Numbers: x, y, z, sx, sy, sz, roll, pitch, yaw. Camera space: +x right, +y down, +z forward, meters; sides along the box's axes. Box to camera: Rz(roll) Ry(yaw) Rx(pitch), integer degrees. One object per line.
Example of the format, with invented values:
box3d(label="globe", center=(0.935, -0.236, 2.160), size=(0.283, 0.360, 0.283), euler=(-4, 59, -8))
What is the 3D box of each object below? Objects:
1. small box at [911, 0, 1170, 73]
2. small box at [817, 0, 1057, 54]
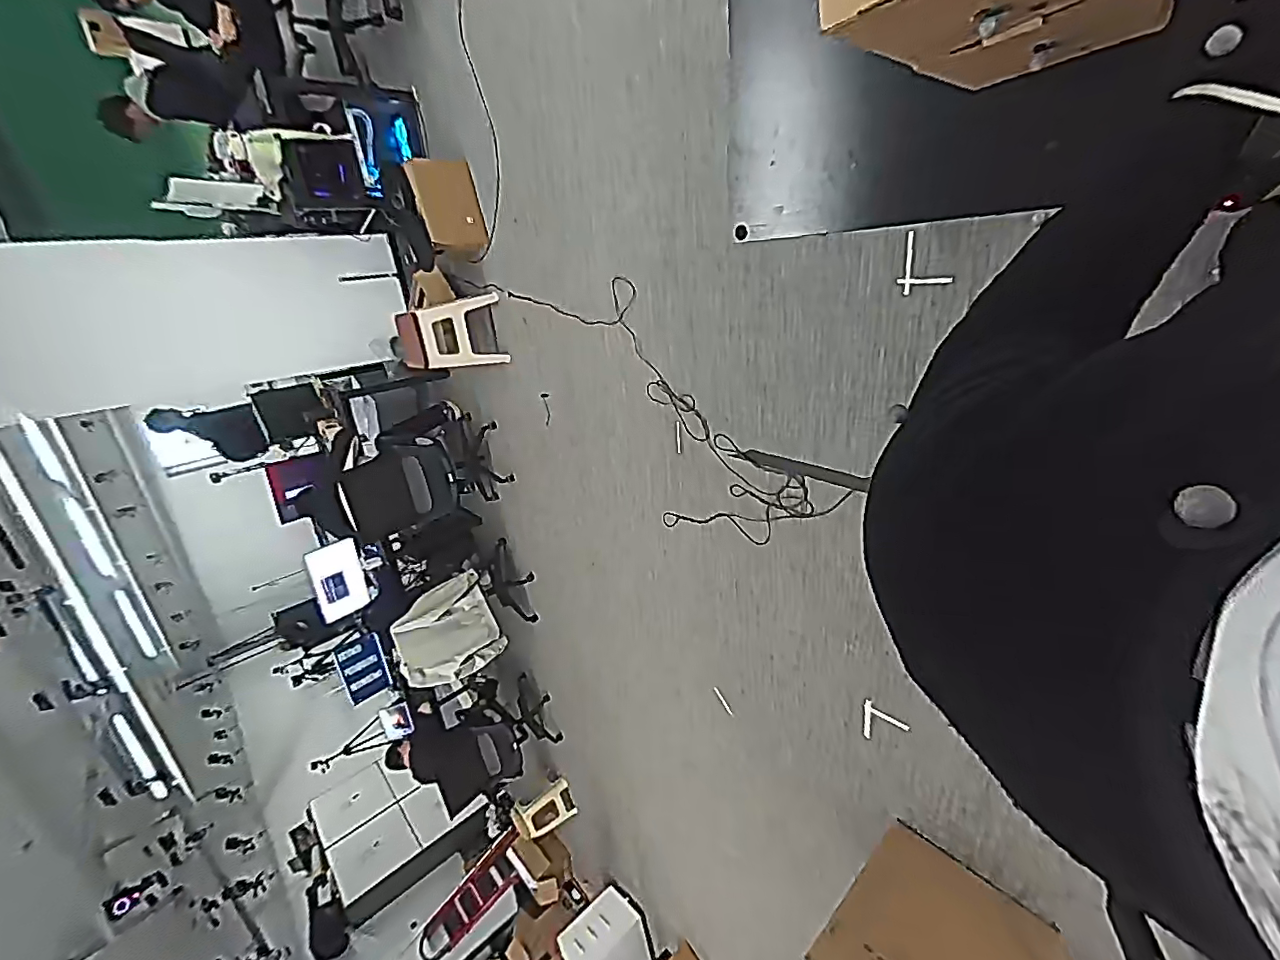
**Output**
box3d(label="small box", center=(0.364, -0.493, 0.481), size=(0.168, 0.176, 0.179), euler=(14, 119, 48))
box3d(label="small box", center=(0.240, -0.446, 0.381), size=(0.168, 0.176, 0.179), euler=(12, 117, 49))
